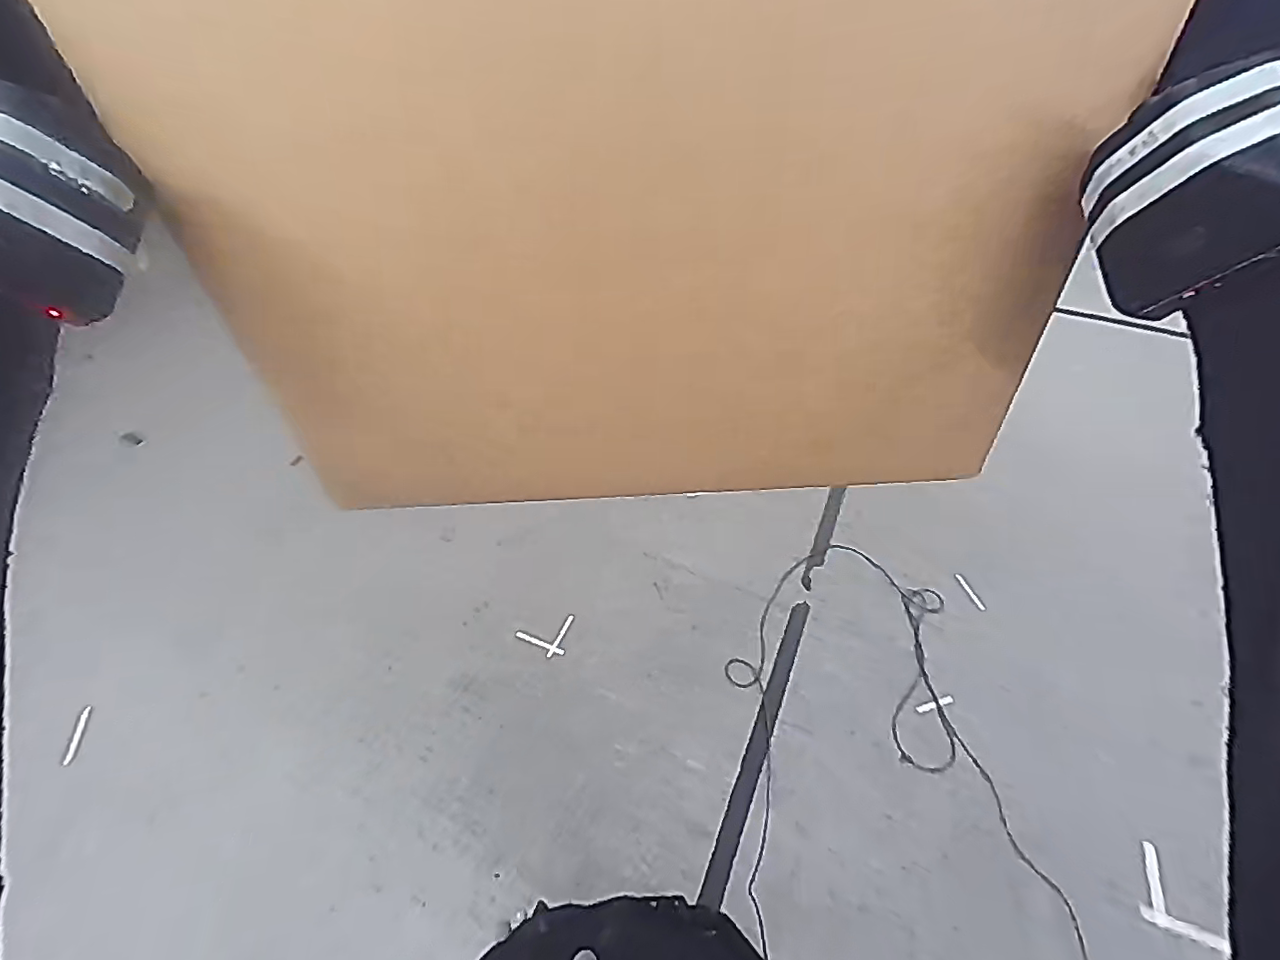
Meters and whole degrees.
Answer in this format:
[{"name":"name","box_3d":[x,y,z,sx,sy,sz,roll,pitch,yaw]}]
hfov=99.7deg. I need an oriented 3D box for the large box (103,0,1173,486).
[{"name":"large box","box_3d":[0.001,-0.212,0.358,0.408,0.320,0.320,-2,41,1]}]
